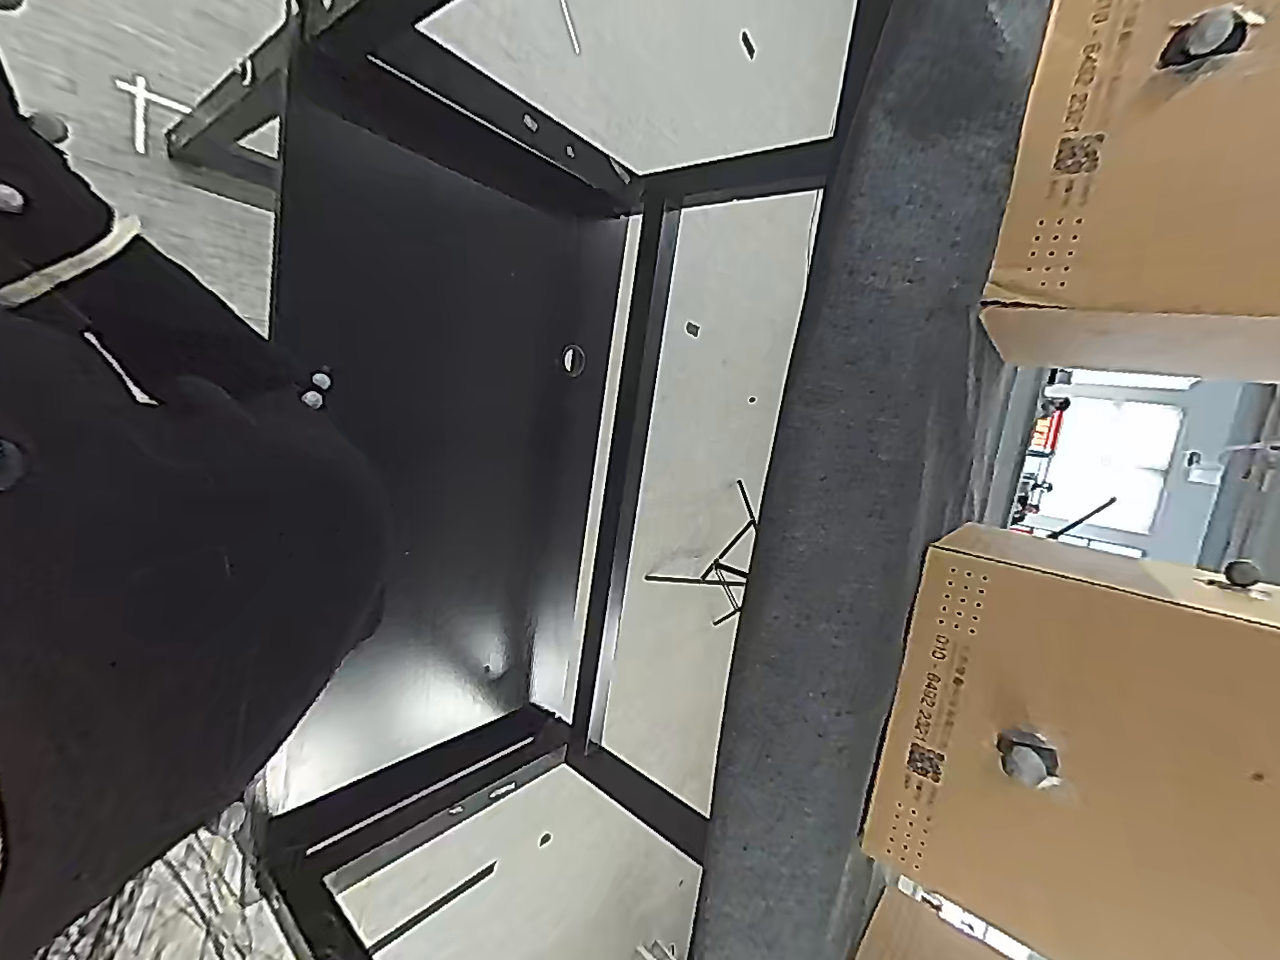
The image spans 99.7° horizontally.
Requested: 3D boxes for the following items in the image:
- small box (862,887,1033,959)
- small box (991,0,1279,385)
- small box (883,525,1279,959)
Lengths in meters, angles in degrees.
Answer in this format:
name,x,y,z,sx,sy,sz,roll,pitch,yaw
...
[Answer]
name,x,y,z,sx,sy,sz,roll,pitch,yaw
small box,0.211,0.419,0.337,0.179,0.176,0.168,5,97,-54
small box,0.286,-0.143,0.256,0.179,0.176,0.168,-3,105,-53
small box,0.251,0.125,0.293,0.179,0.176,0.168,0,101,-54
